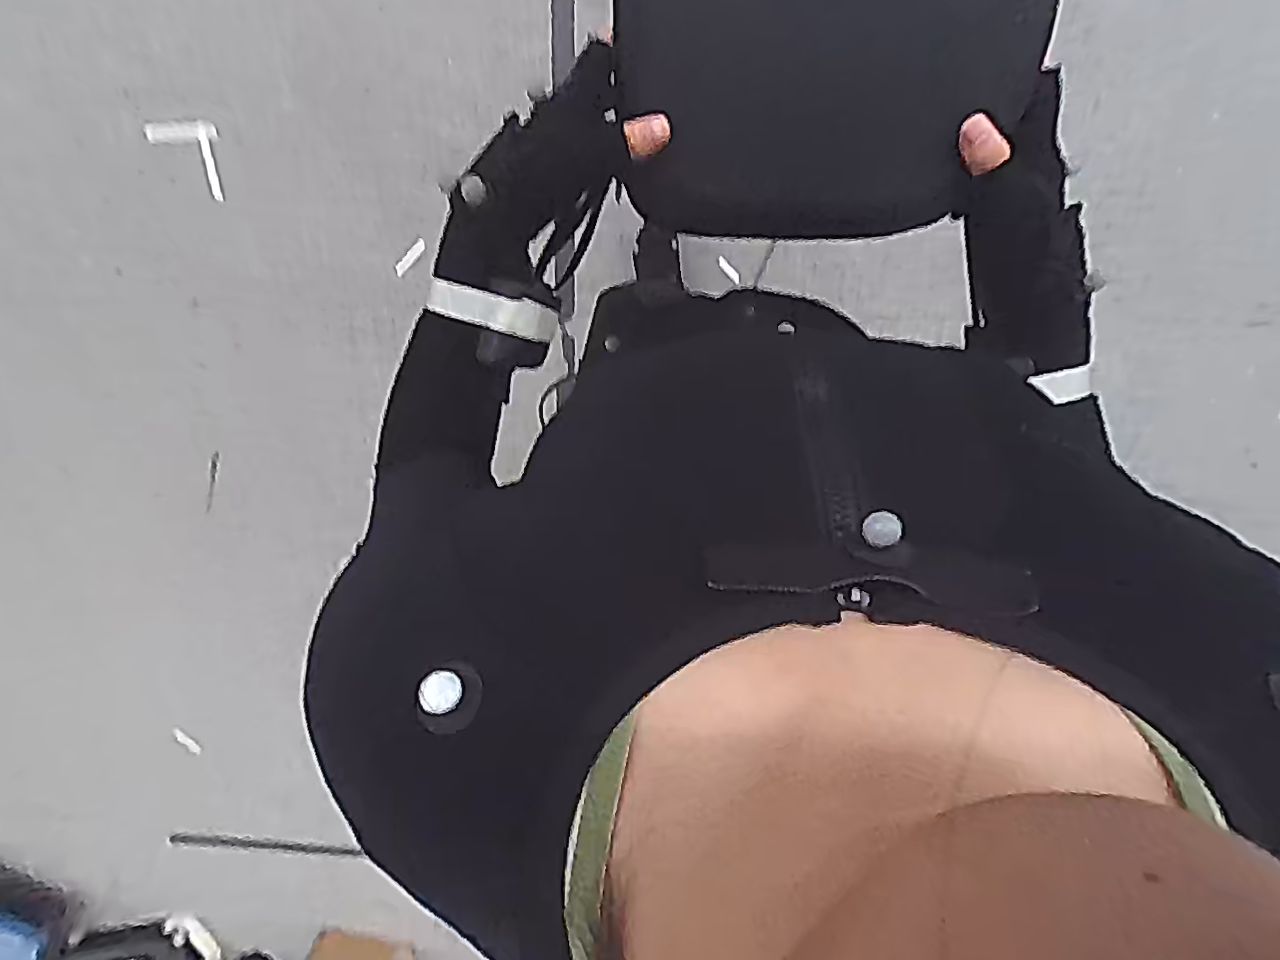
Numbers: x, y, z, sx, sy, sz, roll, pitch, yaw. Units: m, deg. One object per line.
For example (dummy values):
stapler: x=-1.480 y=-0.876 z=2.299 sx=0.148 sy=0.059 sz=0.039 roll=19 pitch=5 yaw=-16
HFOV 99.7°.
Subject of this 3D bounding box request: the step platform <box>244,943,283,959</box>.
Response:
step platform: x=-1.877 y=2.311 z=2.393 sx=0.684 sy=0.204 sz=0.286 roll=-26 pitch=107 yaw=11
